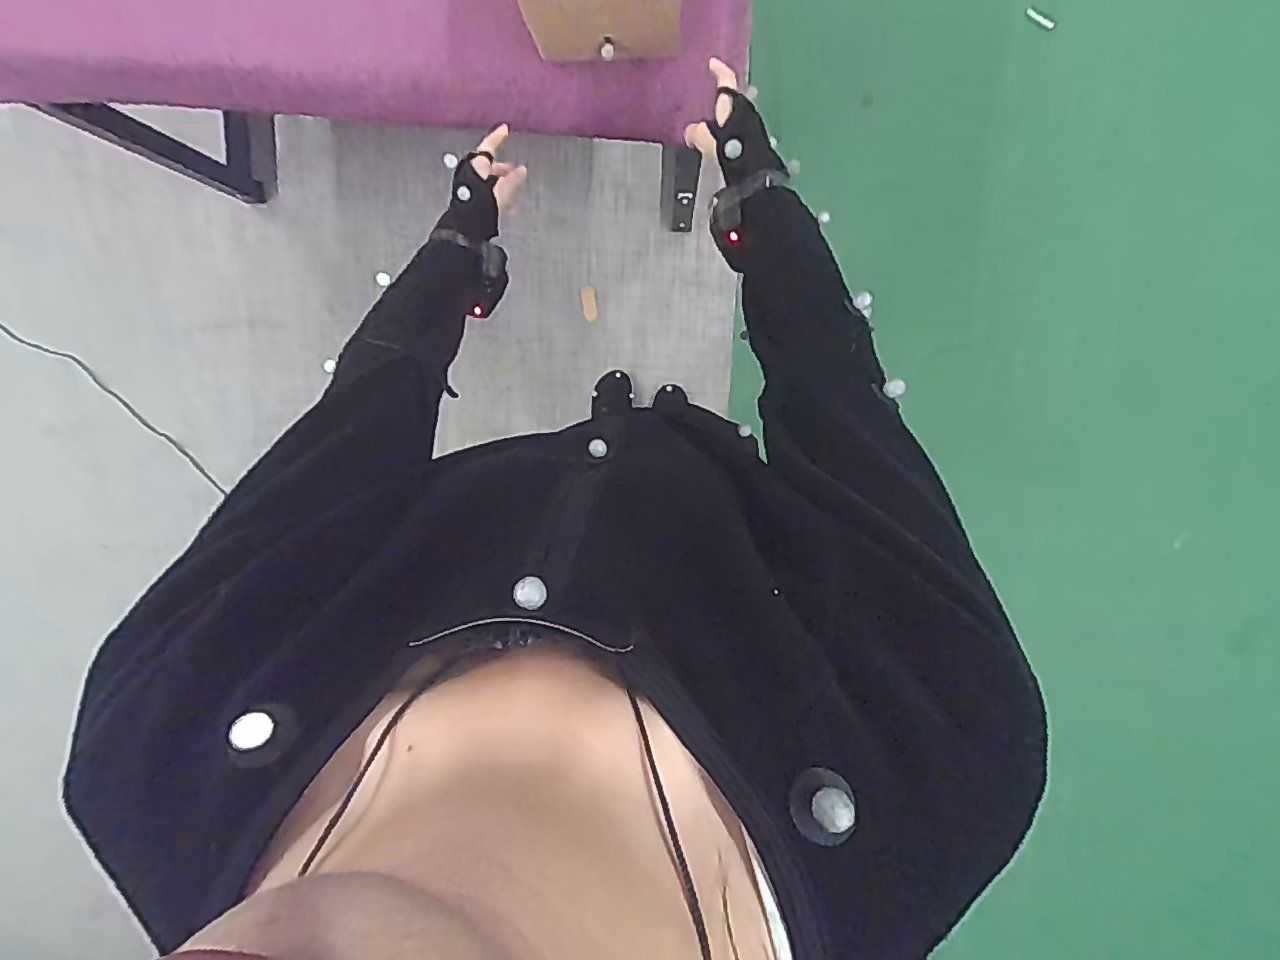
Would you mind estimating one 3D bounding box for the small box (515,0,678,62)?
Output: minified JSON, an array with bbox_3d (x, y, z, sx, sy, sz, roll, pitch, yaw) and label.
[{"bbox_3d":[-0.044,-0.593,0.592,0.179,0.176,0.168,0,103,3],"label":"small box"}]
